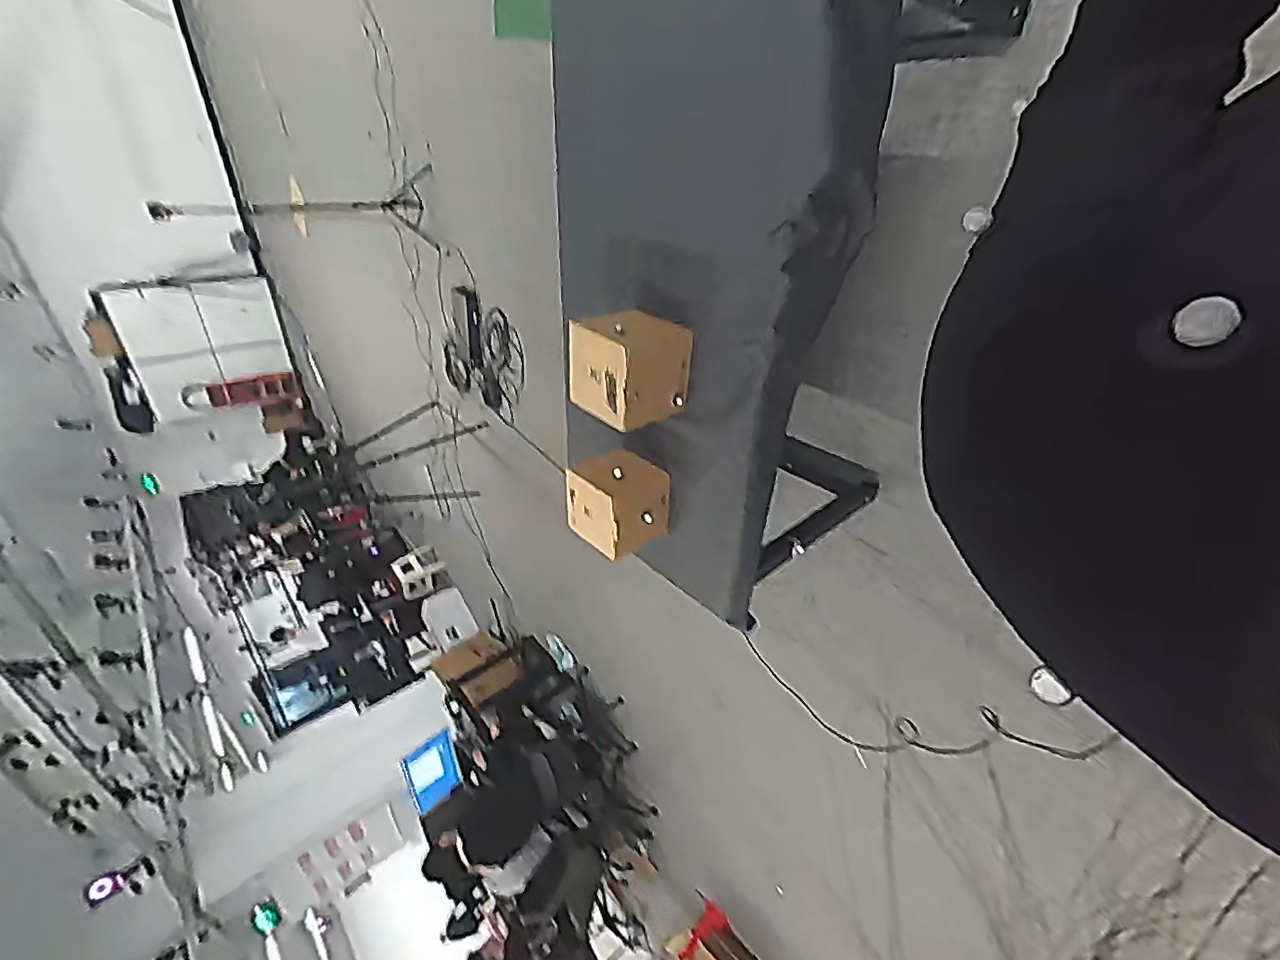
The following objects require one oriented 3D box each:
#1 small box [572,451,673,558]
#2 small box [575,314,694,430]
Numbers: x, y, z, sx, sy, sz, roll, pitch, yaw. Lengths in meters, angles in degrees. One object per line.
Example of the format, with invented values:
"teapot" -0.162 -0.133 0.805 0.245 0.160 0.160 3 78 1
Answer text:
"small box" -0.038 0.048 1.267 0.179 0.176 0.168 30 131 39
"small box" -0.011 -0.224 1.080 0.179 0.176 0.168 34 134 39
